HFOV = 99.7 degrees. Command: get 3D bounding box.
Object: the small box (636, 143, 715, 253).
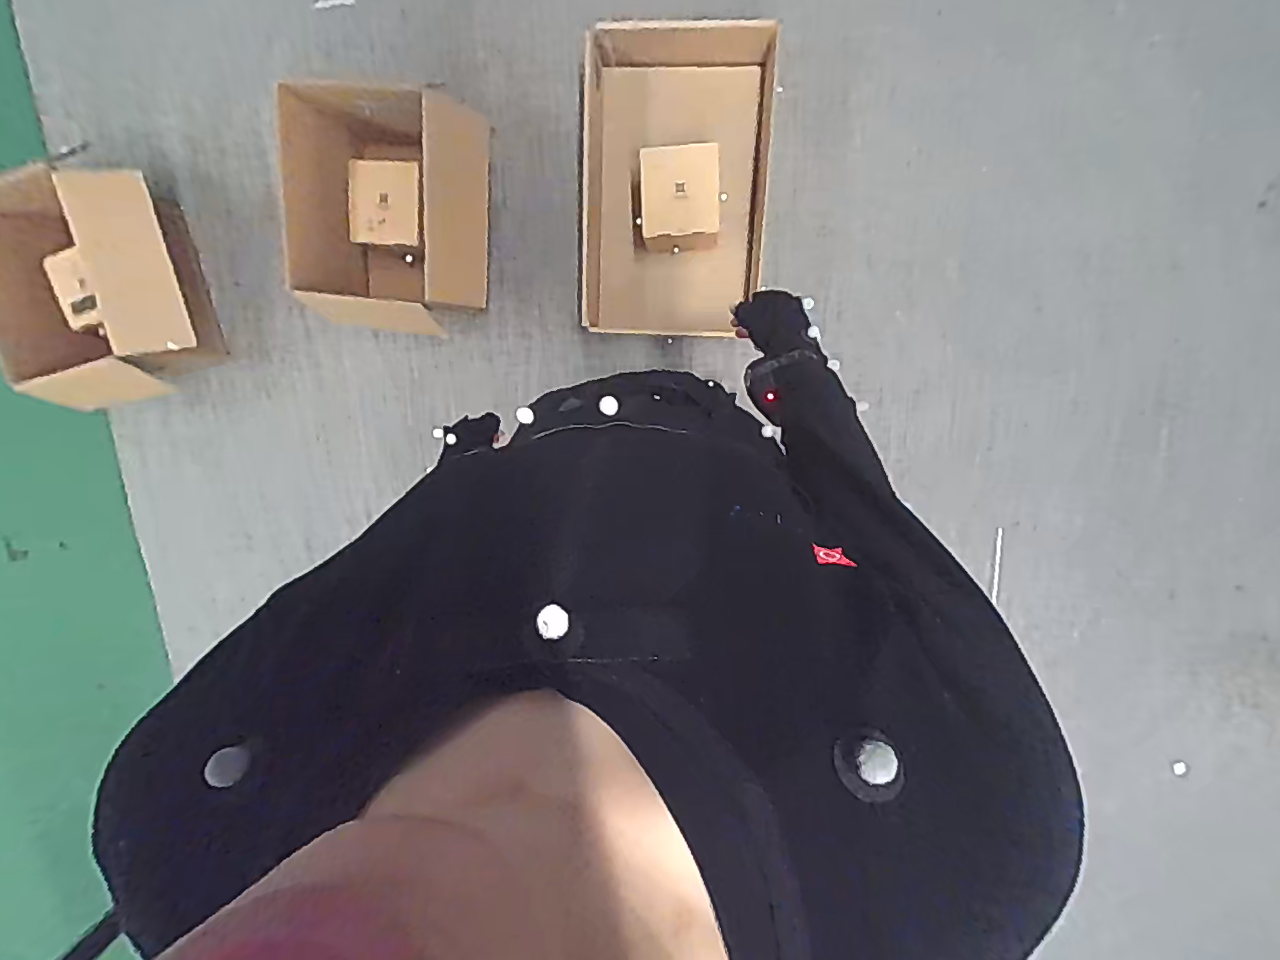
[{"bbox_3d":[0.080,-0.622,1.212,0.168,0.176,0.179,-2,102,5],"label":"small box"}]
